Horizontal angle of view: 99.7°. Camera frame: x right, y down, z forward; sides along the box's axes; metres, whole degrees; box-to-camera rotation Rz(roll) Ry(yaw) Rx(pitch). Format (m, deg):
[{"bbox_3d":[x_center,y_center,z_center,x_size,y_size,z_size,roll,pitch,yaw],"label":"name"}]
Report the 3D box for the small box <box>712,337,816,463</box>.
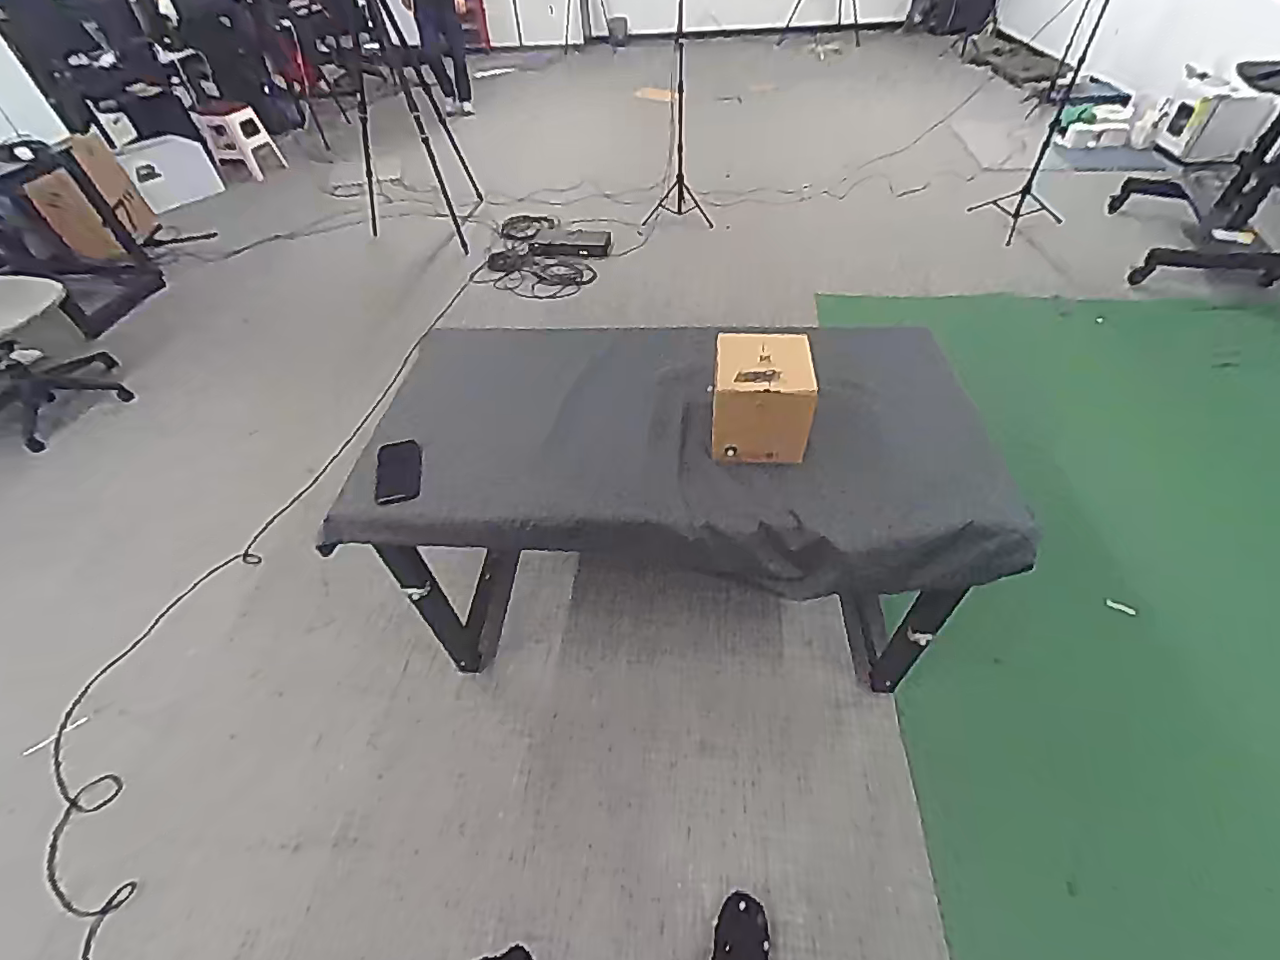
[{"bbox_3d":[0.225,-0.149,1.015,0.168,0.176,0.179,3,46,6],"label":"small box"}]
